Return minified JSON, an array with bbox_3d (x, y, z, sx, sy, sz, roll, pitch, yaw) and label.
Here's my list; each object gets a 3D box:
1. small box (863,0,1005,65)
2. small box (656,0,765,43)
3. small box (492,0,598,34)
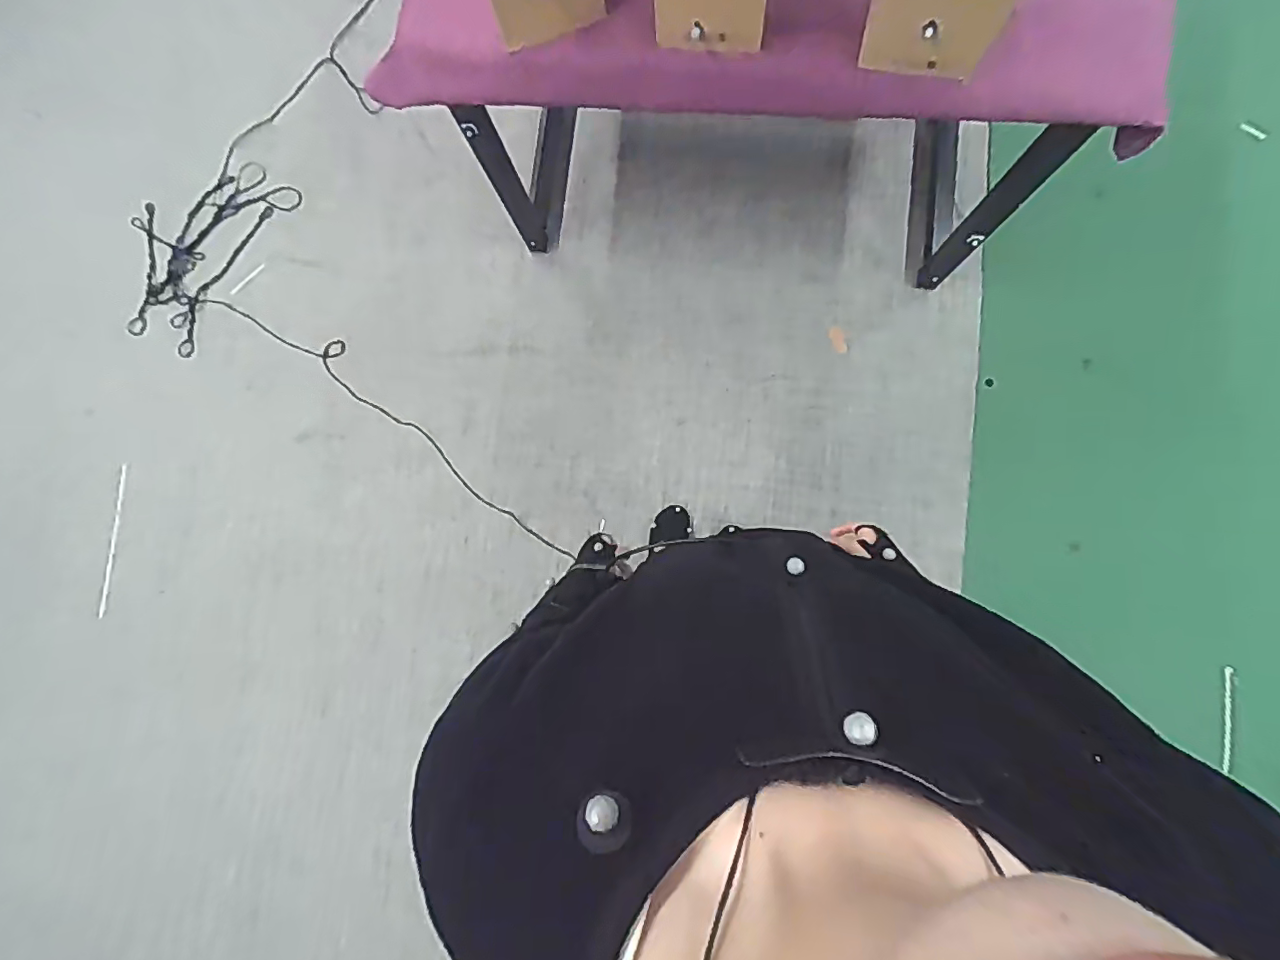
[{"bbox_3d":[0.426,-0.725,0.747,0.168,0.176,0.179,12,87,5],"label":"small box"},{"bbox_3d":[0.110,-0.789,0.781,0.168,0.176,0.179,8,85,6],"label":"small box"},{"bbox_3d":[-0.167,-0.825,0.806,0.179,0.176,0.168,-18,84,3],"label":"small box"}]
